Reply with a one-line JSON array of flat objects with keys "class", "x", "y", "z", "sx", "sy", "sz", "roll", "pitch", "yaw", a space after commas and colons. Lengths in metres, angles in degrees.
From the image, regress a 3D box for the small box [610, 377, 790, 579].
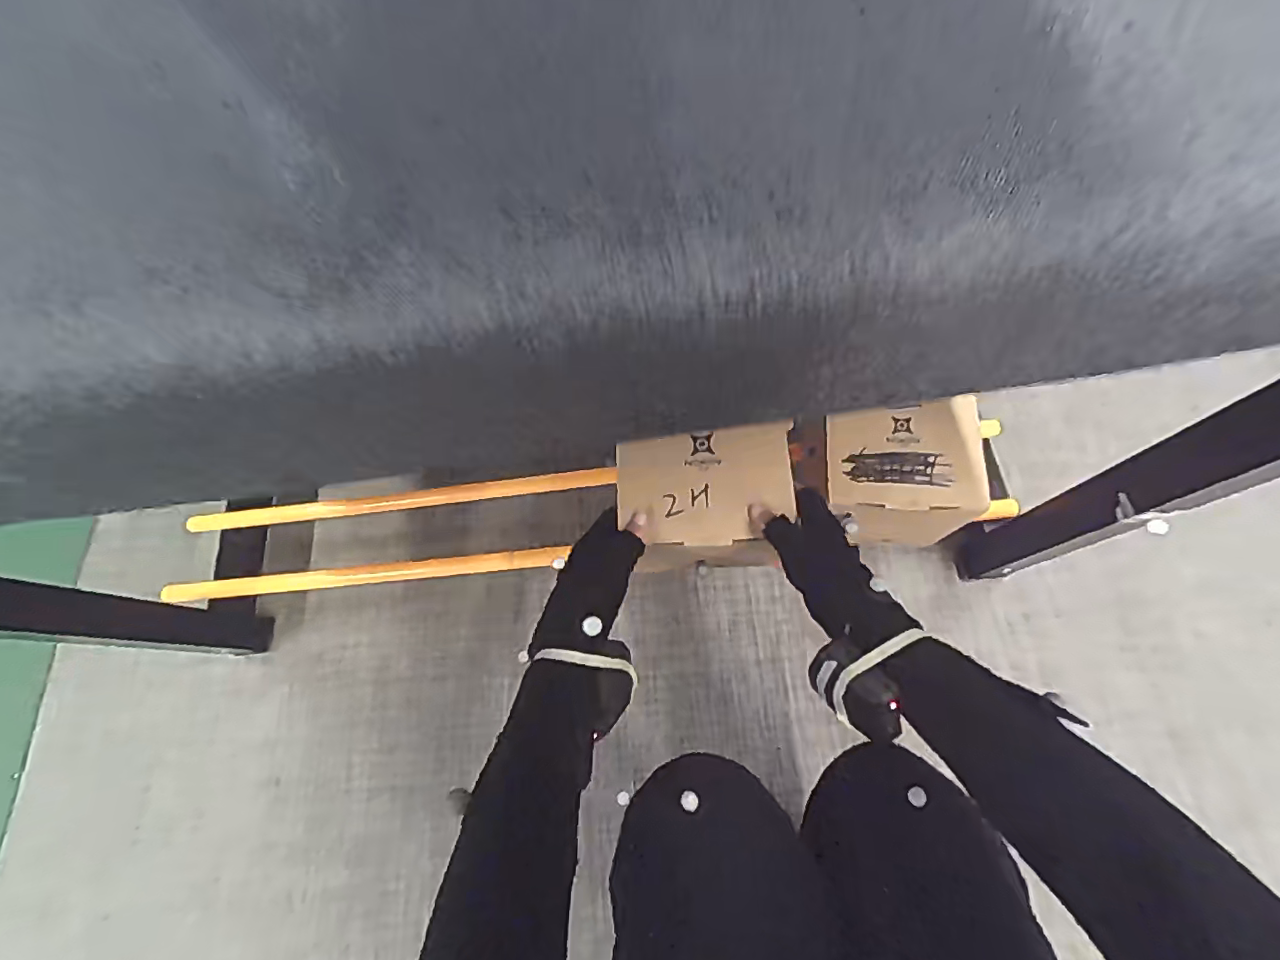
[{"class": "small box", "x": 0.058, "y": 0.008, "z": 0.590, "sx": 0.168, "sy": 0.176, "sz": 0.179, "roll": -3, "pitch": 72, "yaw": 4}]
